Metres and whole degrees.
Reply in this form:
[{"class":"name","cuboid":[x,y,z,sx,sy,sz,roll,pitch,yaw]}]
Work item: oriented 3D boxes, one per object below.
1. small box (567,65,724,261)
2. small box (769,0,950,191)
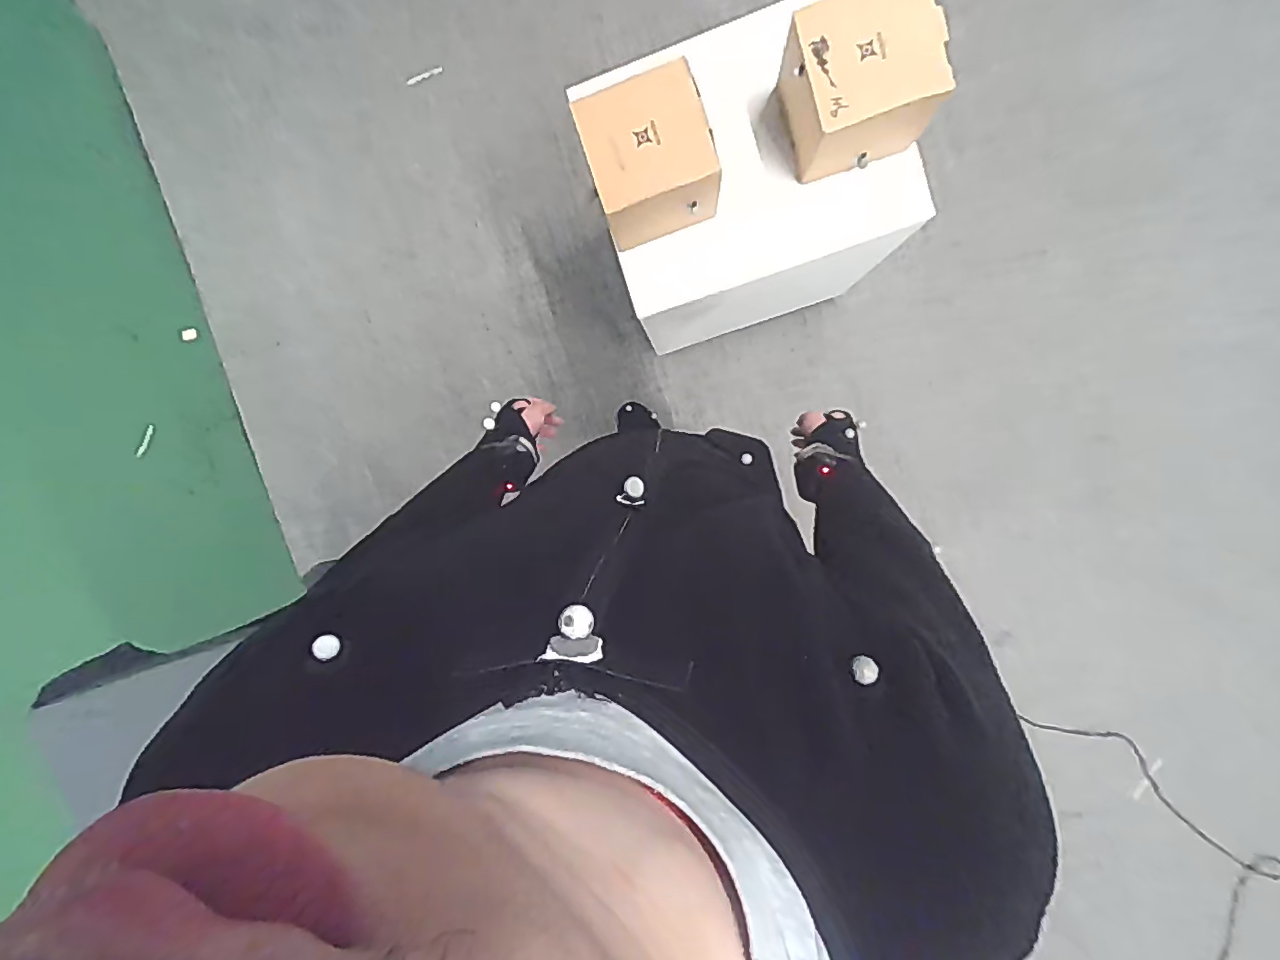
[{"class":"small box","cuboid":[0.011,-0.461,0.816,0.179,0.176,0.168,-20,92,5]},{"class":"small box","cuboid":[0.307,-0.560,0.789,0.179,0.176,0.168,-17,94,5]}]
